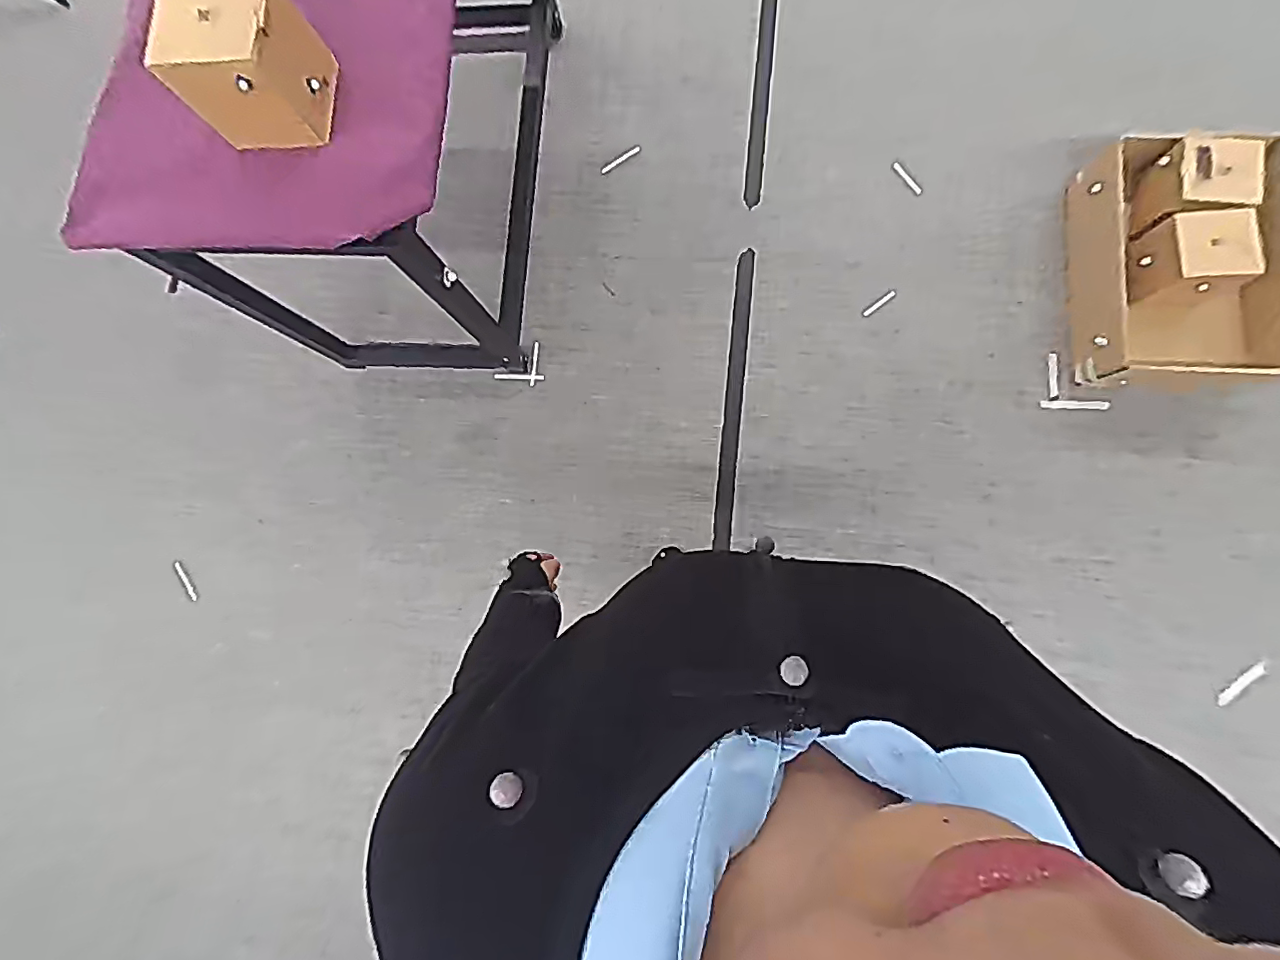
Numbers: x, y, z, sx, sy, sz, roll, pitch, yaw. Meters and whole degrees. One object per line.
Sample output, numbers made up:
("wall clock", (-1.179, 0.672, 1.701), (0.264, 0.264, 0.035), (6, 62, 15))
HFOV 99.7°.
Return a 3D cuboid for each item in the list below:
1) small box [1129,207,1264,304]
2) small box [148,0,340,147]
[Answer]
("small box", (1.382, -0.556, 1.360), (0.179, 0.176, 0.168), (-1, 84, 6))
("small box", (-0.630, -0.674, 0.879), (0.179, 0.176, 0.168), (1, 82, 5))
